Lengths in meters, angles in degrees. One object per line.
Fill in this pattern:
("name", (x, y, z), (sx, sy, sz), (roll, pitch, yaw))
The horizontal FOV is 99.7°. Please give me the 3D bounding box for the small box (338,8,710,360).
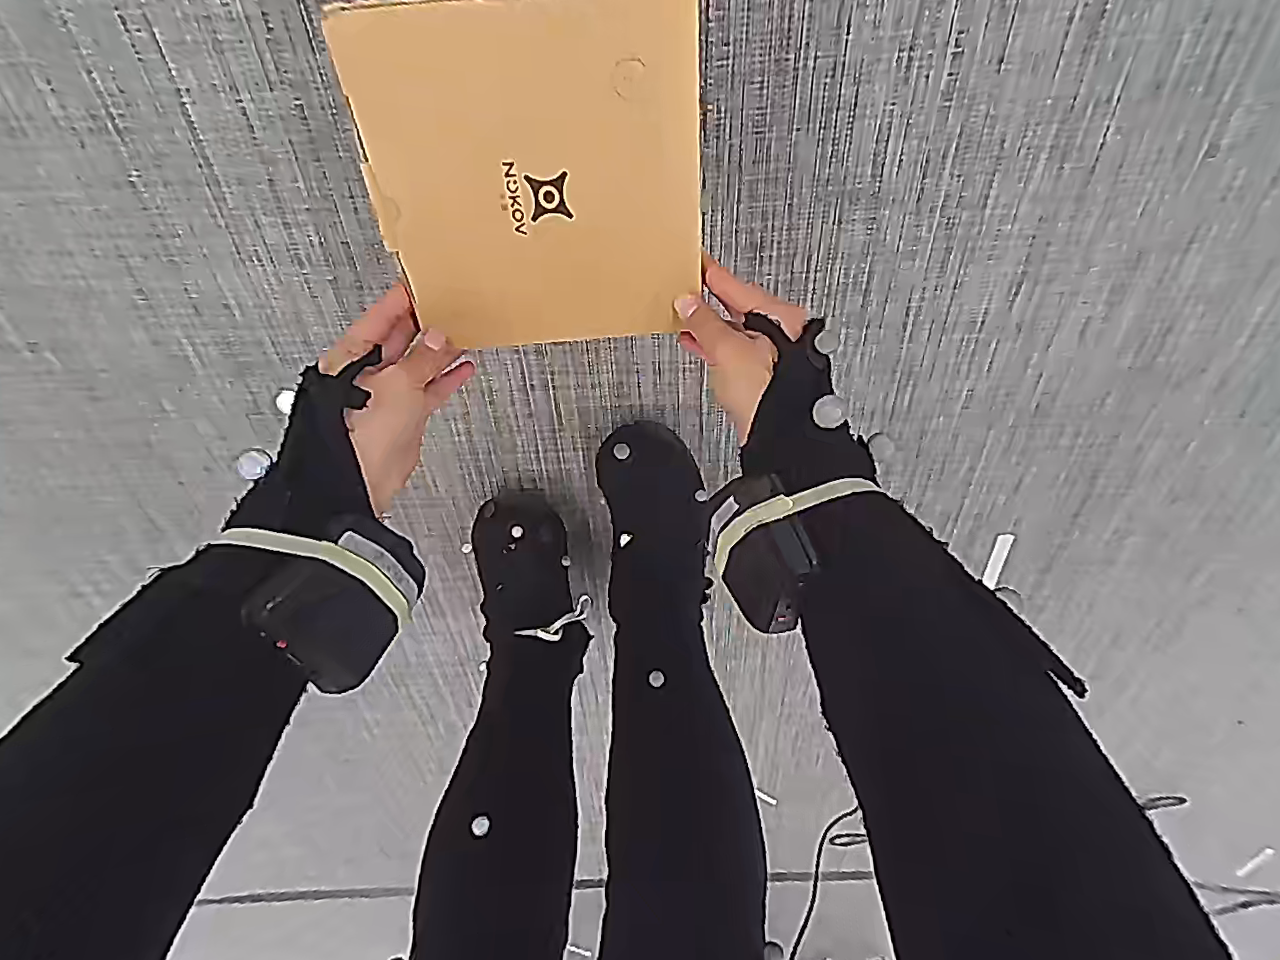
("small box", (-0.053, -0.196, 0.359), (0.179, 0.176, 0.168), (-4, 127, 1))
